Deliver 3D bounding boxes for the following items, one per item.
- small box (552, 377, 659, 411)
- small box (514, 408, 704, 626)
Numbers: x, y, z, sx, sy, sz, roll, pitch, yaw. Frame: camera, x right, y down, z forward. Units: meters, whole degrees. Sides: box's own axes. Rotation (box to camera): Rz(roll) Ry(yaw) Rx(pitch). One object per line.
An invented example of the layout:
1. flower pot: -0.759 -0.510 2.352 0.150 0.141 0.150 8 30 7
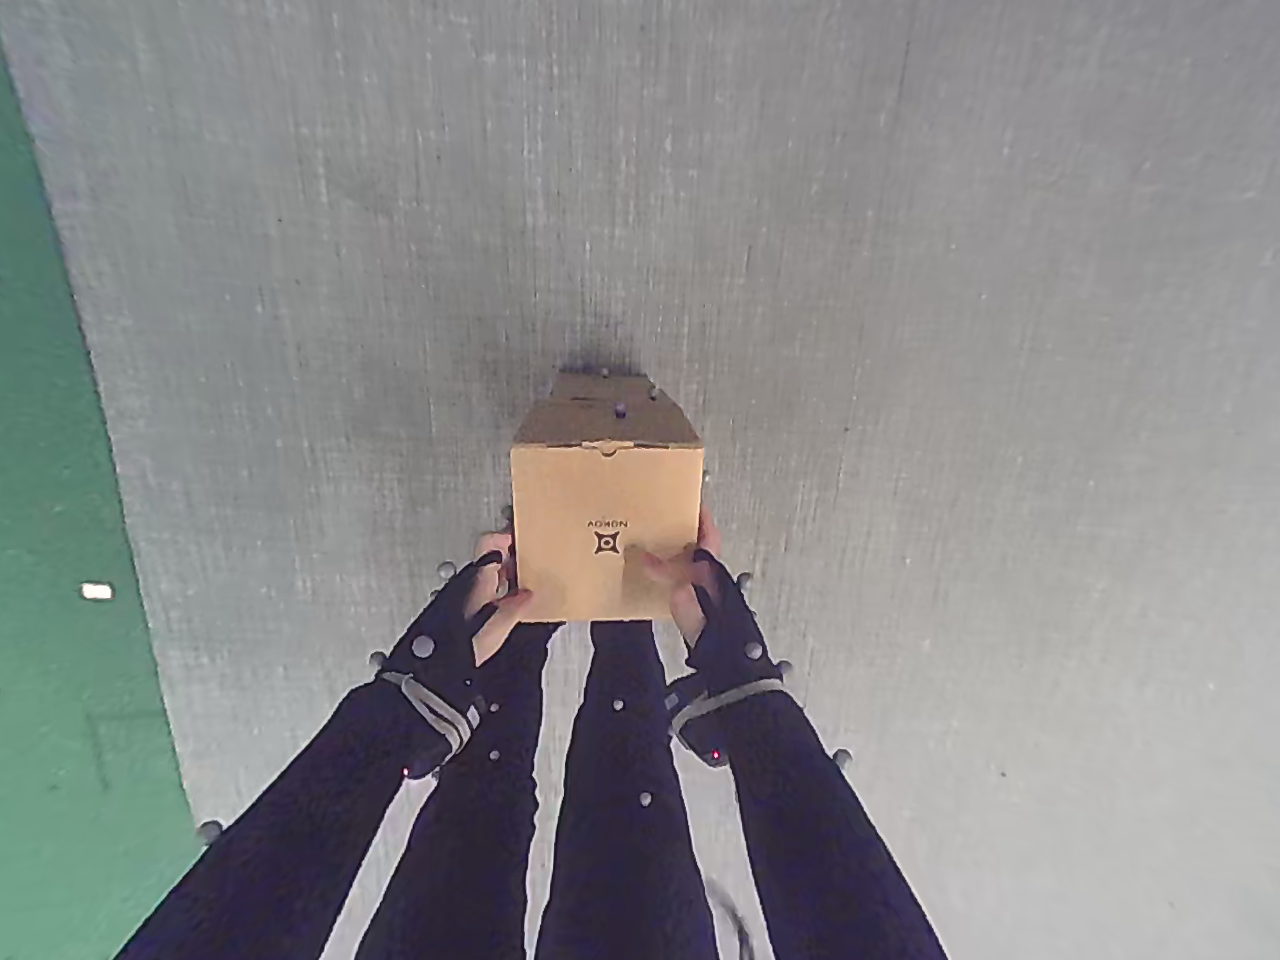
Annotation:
1. small box: -0.062 -0.073 0.919 0.168 0.176 0.179 2 107 -6
2. small box: -0.032 0.030 0.563 0.168 0.176 0.179 0 110 -4
